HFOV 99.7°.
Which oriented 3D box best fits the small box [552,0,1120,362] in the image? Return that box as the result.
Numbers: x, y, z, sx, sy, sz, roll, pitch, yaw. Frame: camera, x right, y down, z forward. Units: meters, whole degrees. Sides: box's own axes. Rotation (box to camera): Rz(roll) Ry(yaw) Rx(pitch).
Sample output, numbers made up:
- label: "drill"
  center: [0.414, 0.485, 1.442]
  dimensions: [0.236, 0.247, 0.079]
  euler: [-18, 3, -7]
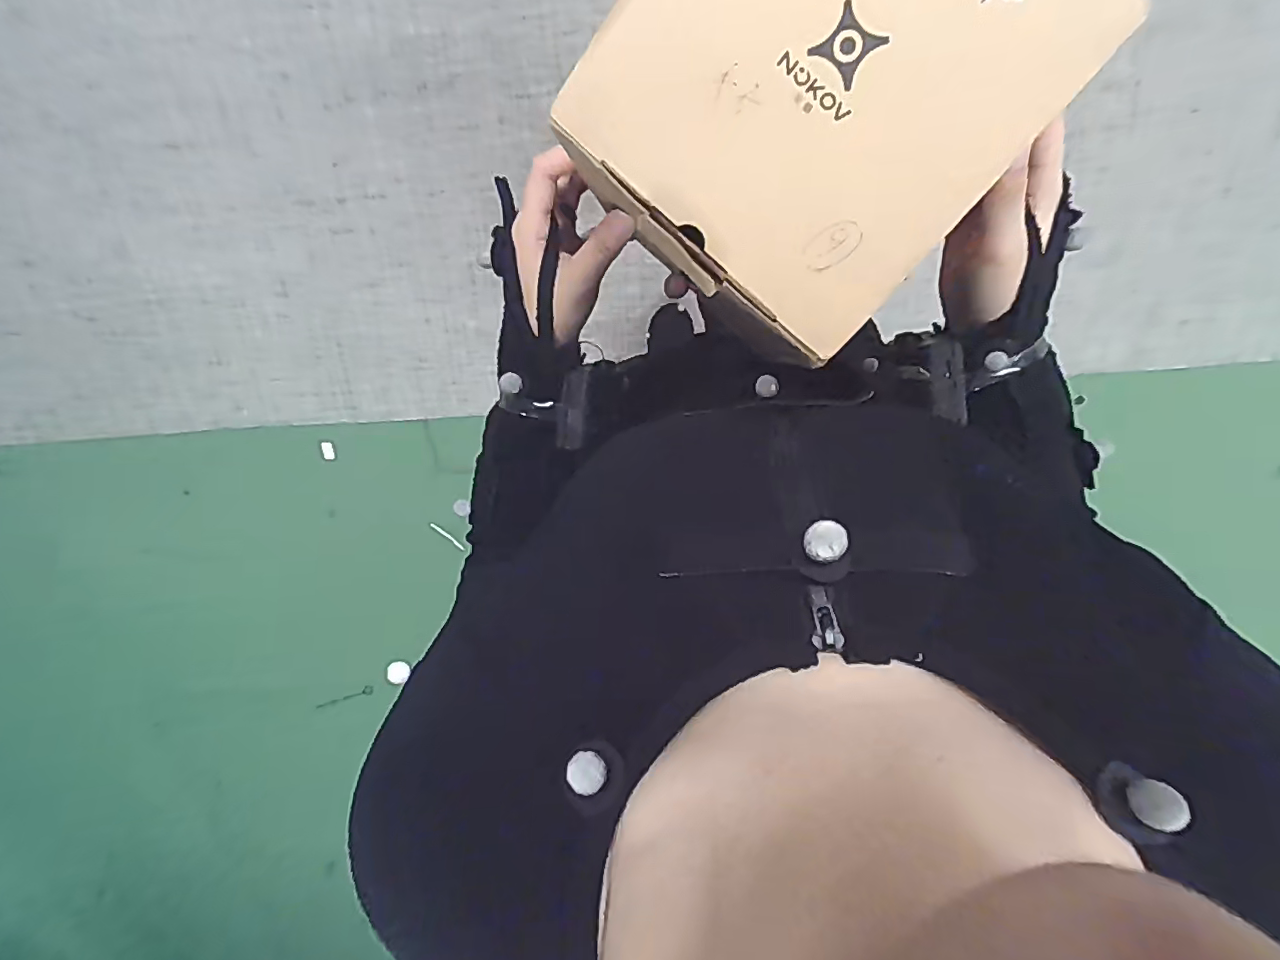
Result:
- label: "small box"
  center: [0.083, -0.187, 0.304]
  dimensions: [0.168, 0.176, 0.179]
  euler: [40, 105, -5]
